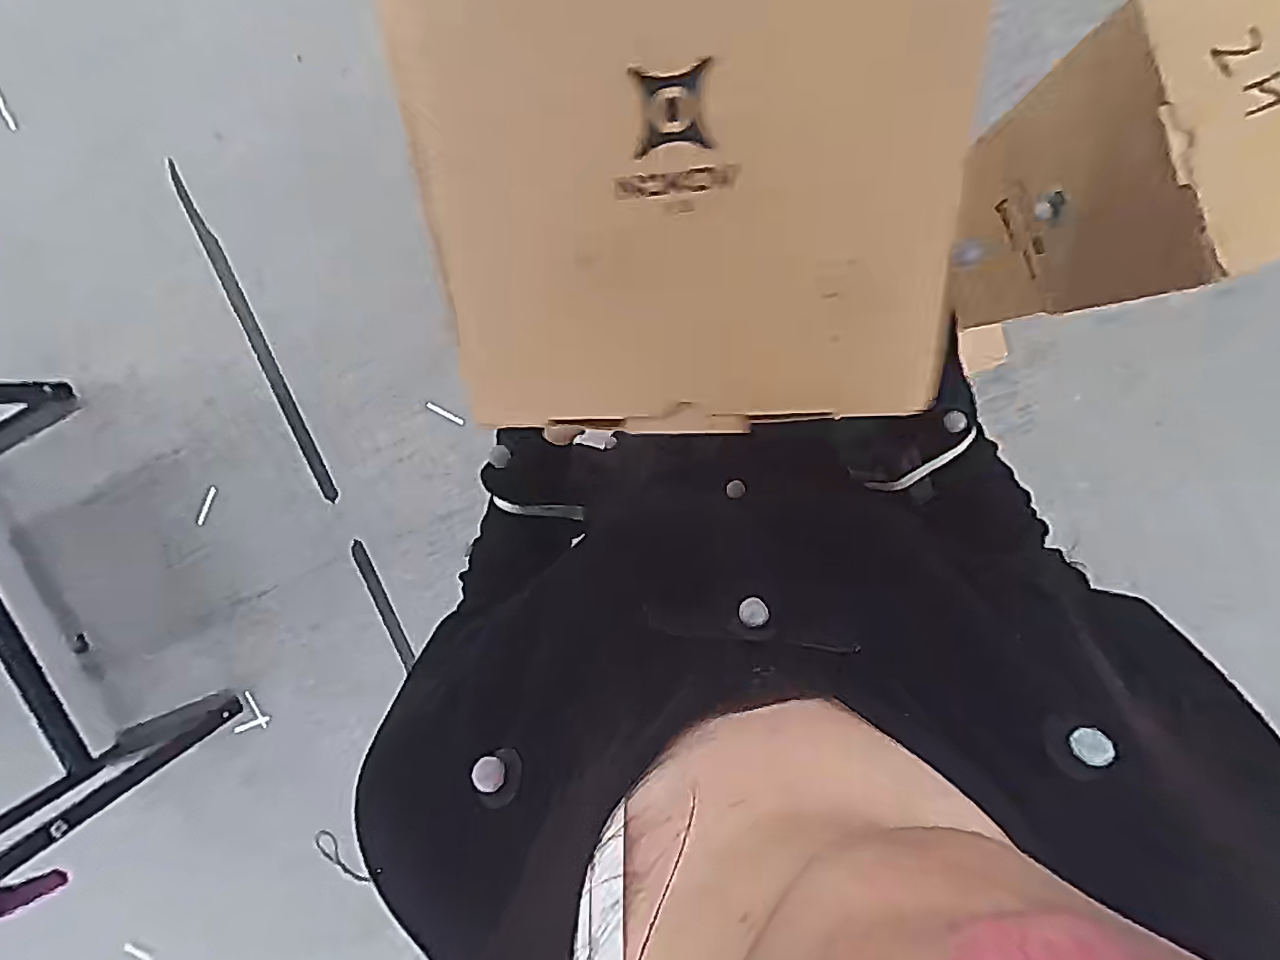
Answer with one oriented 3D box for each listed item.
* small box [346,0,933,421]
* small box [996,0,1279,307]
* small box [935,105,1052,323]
[{"bbox_3d":[0.010,-0.136,0.236,0.168,0.176,0.179,-1,115,9],"label":"small box"},{"bbox_3d":[0.387,-0.234,0.359,0.179,0.176,0.168,-22,96,12],"label":"small box"},{"bbox_3d":[0.412,-0.264,0.519,0.179,0.176,0.168,-19,97,11],"label":"small box"}]
